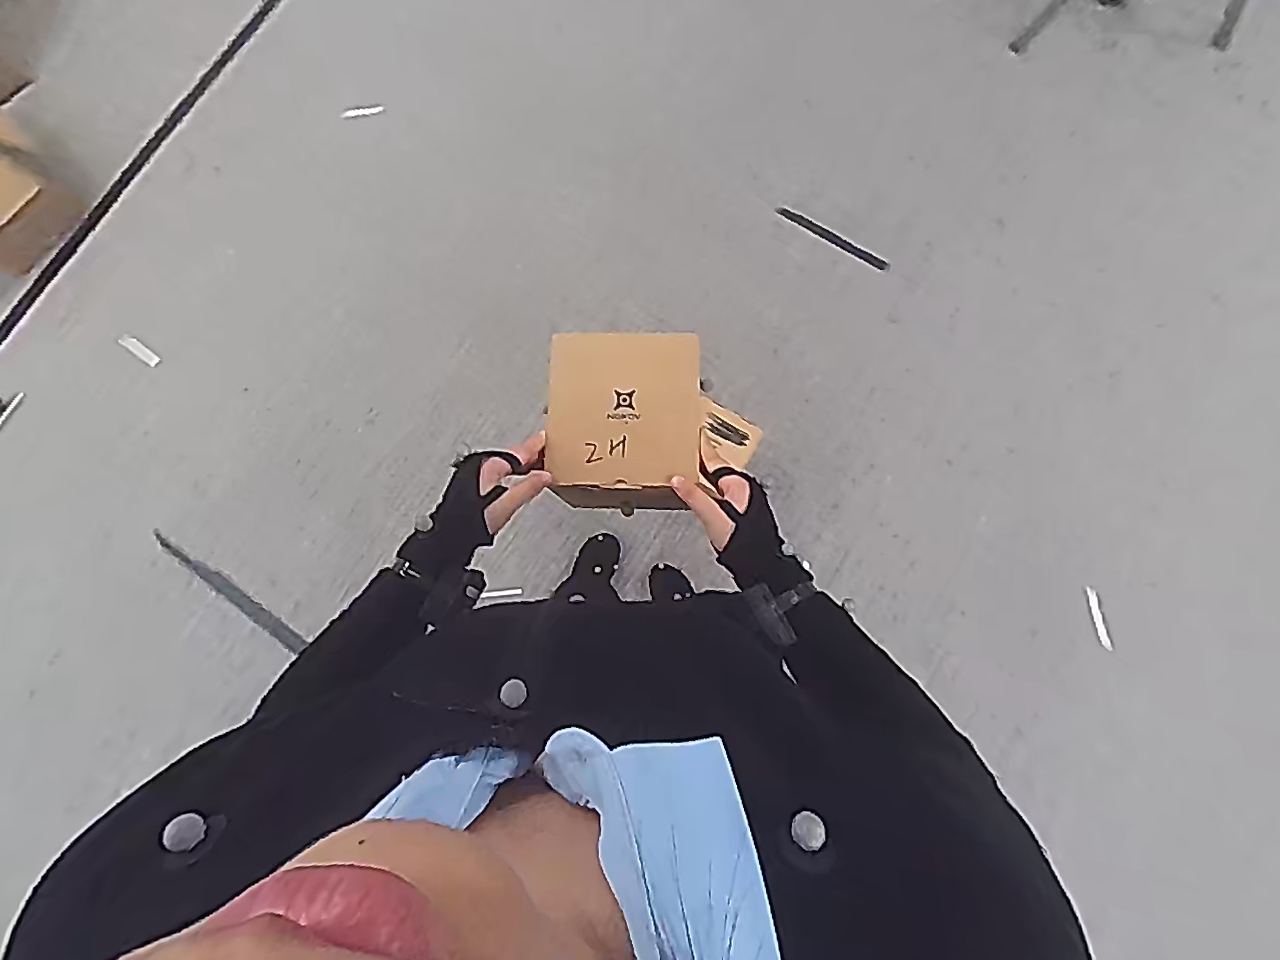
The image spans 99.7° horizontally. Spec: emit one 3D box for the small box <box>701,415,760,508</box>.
[{"bbox_3d":[0.193,-0.042,1.437,0.168,0.176,0.179,32,85,7],"label":"small box"}]

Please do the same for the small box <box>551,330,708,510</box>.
[{"bbox_3d":[-0.006,-0.063,0.652,0.168,0.176,0.179,0,79,4],"label":"small box"}]
